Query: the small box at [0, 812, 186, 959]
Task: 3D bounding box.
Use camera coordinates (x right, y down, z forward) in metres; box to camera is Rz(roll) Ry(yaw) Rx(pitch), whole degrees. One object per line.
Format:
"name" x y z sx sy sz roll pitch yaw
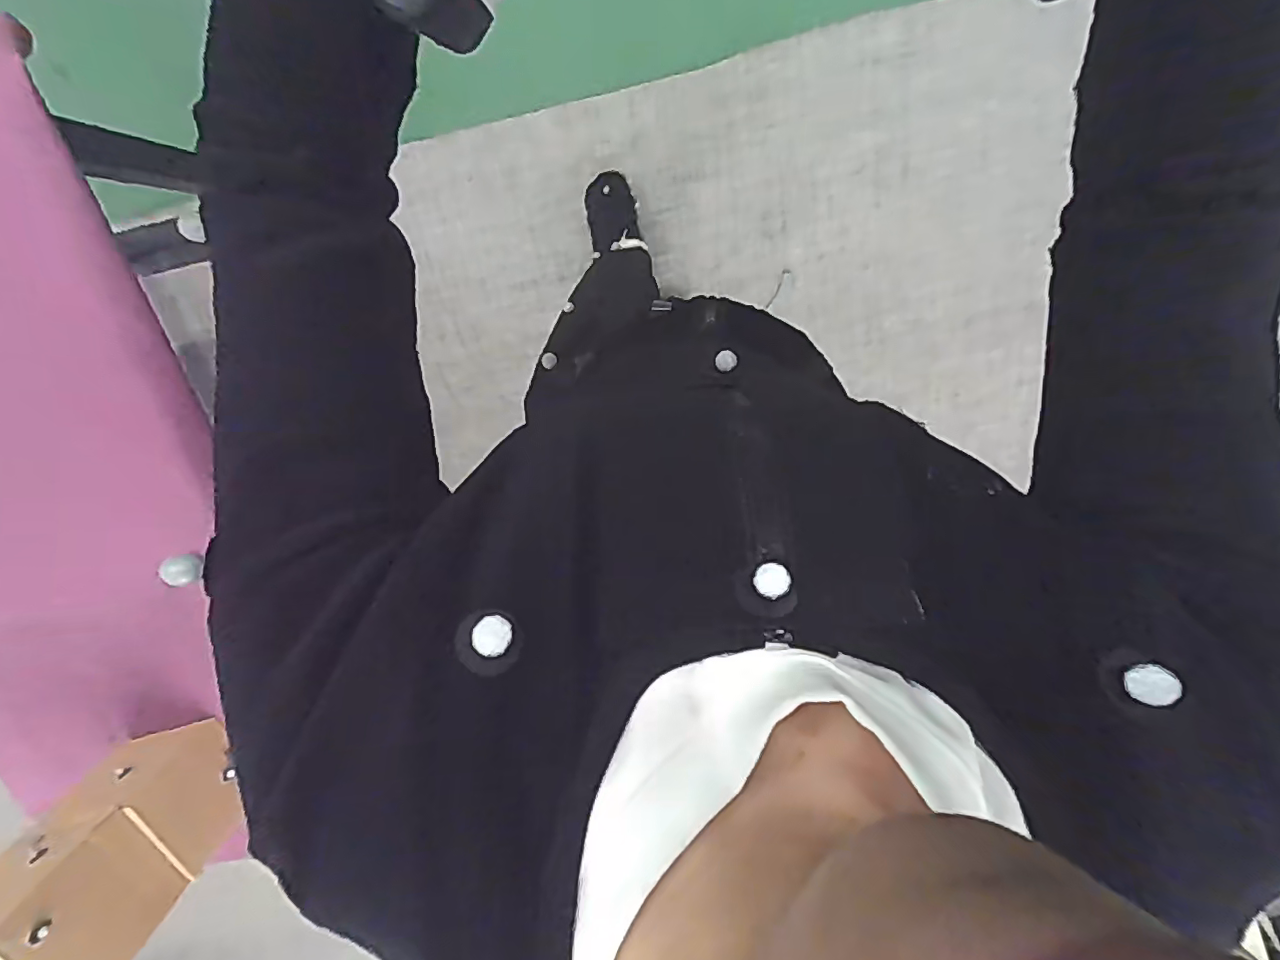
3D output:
"small box" -0.762 0.580 0.705 0.168 0.176 0.179 -18 108 7
